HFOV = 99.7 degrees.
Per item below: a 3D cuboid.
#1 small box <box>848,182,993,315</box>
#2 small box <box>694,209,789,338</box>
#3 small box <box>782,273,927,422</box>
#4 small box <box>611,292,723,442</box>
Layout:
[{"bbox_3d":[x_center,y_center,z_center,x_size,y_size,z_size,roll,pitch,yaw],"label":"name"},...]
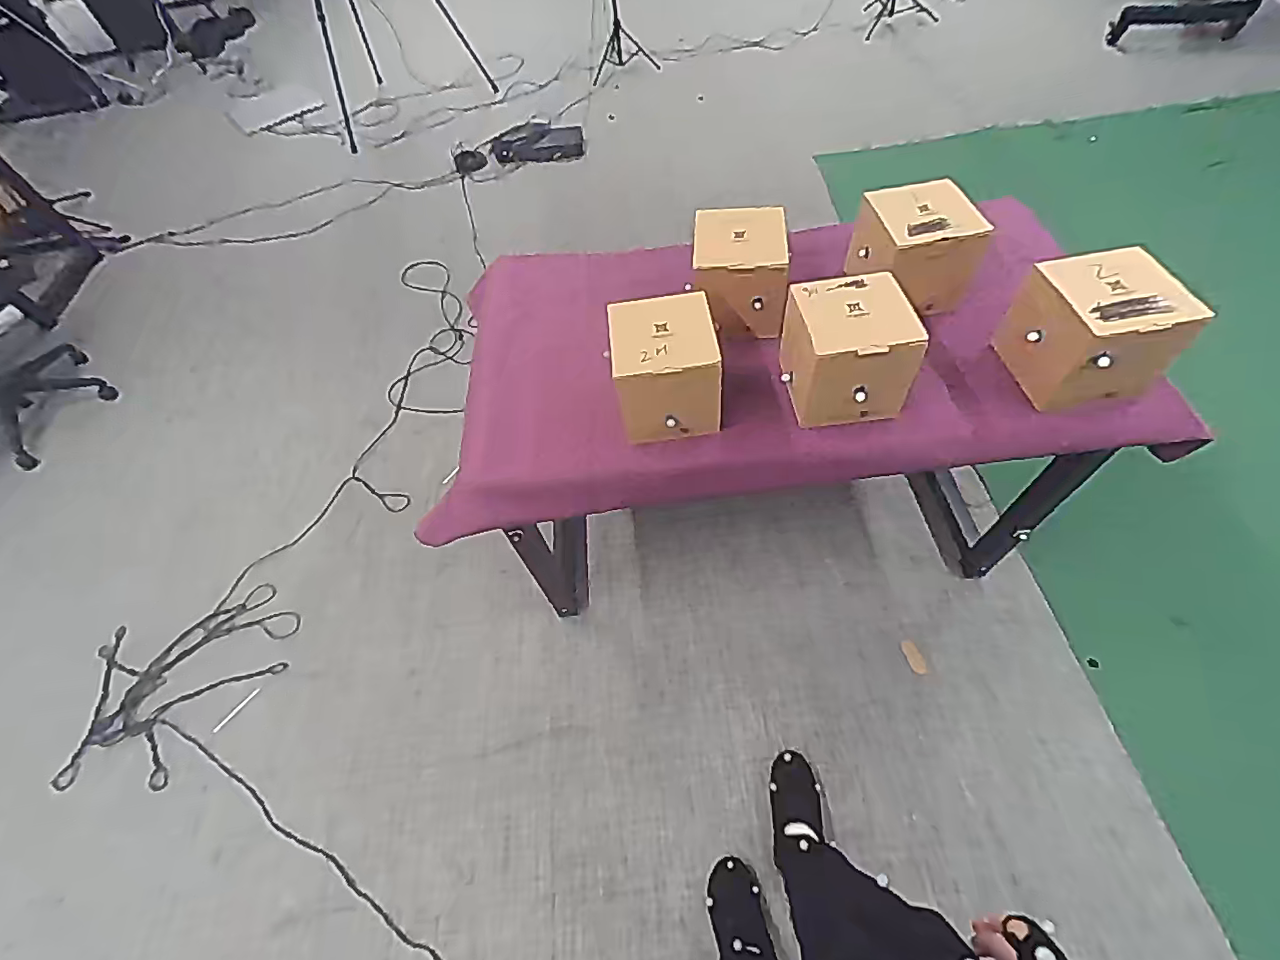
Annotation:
[{"bbox_3d":[0.514,-0.425,1.021,0.168,0.176,0.179,-8,55,1],"label":"small box"},{"bbox_3d":[0.191,-0.391,1.038,0.168,0.176,0.179,2,57,7],"label":"small box"},{"bbox_3d":[0.341,-0.211,0.898,0.168,0.176,0.179,-6,55,3],"label":"small box"},{"bbox_3d":[0.044,-0.188,0.918,0.168,0.176,0.179,-7,56,3],"label":"small box"}]
